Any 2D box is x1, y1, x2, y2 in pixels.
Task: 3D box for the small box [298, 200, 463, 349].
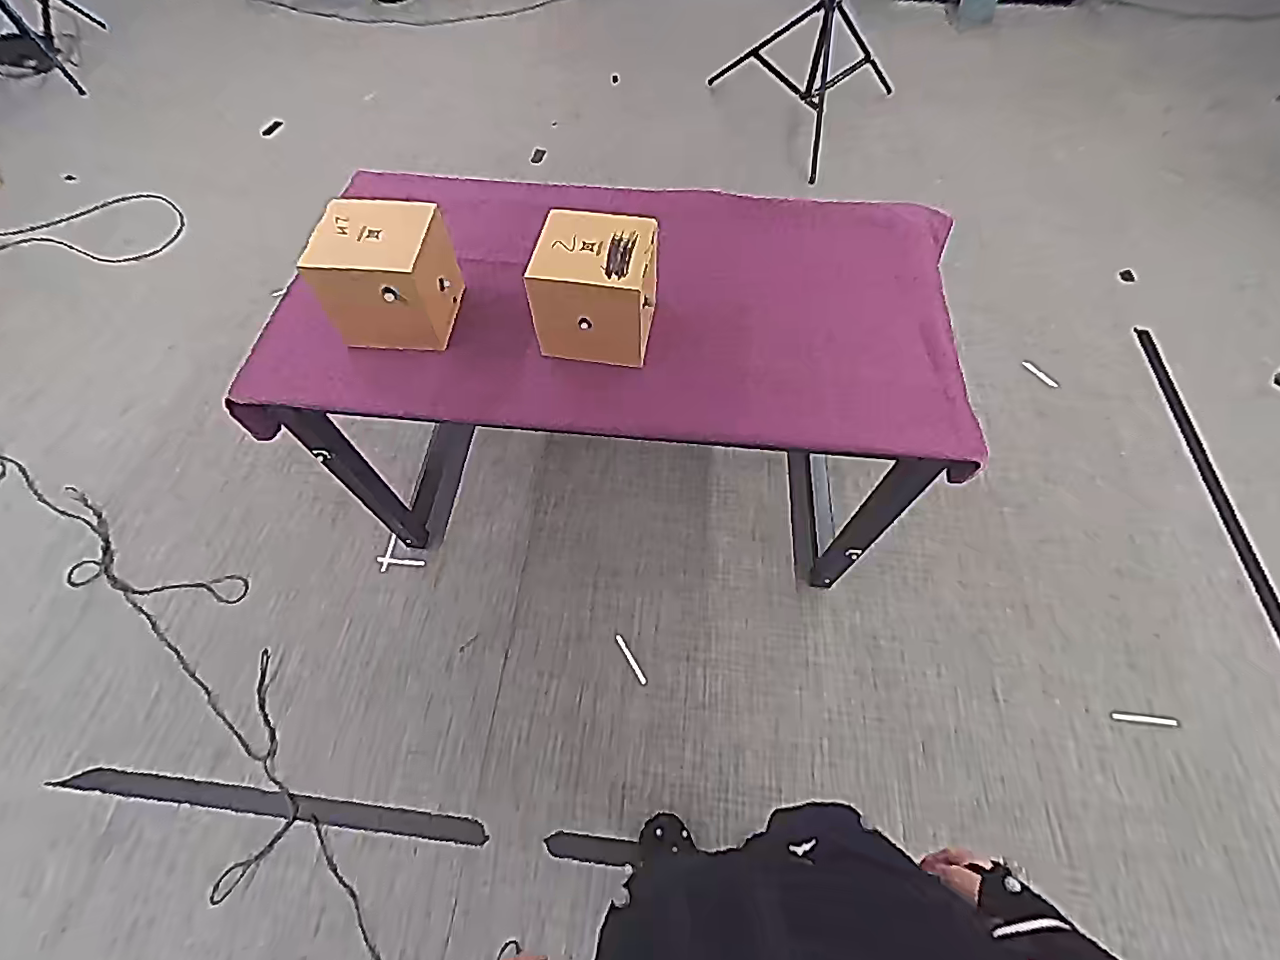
[{"bbox_3d":[-0.413,-0.336,0.901,0.179,0.176,0.168,3,60,2],"label":"small box"}]
